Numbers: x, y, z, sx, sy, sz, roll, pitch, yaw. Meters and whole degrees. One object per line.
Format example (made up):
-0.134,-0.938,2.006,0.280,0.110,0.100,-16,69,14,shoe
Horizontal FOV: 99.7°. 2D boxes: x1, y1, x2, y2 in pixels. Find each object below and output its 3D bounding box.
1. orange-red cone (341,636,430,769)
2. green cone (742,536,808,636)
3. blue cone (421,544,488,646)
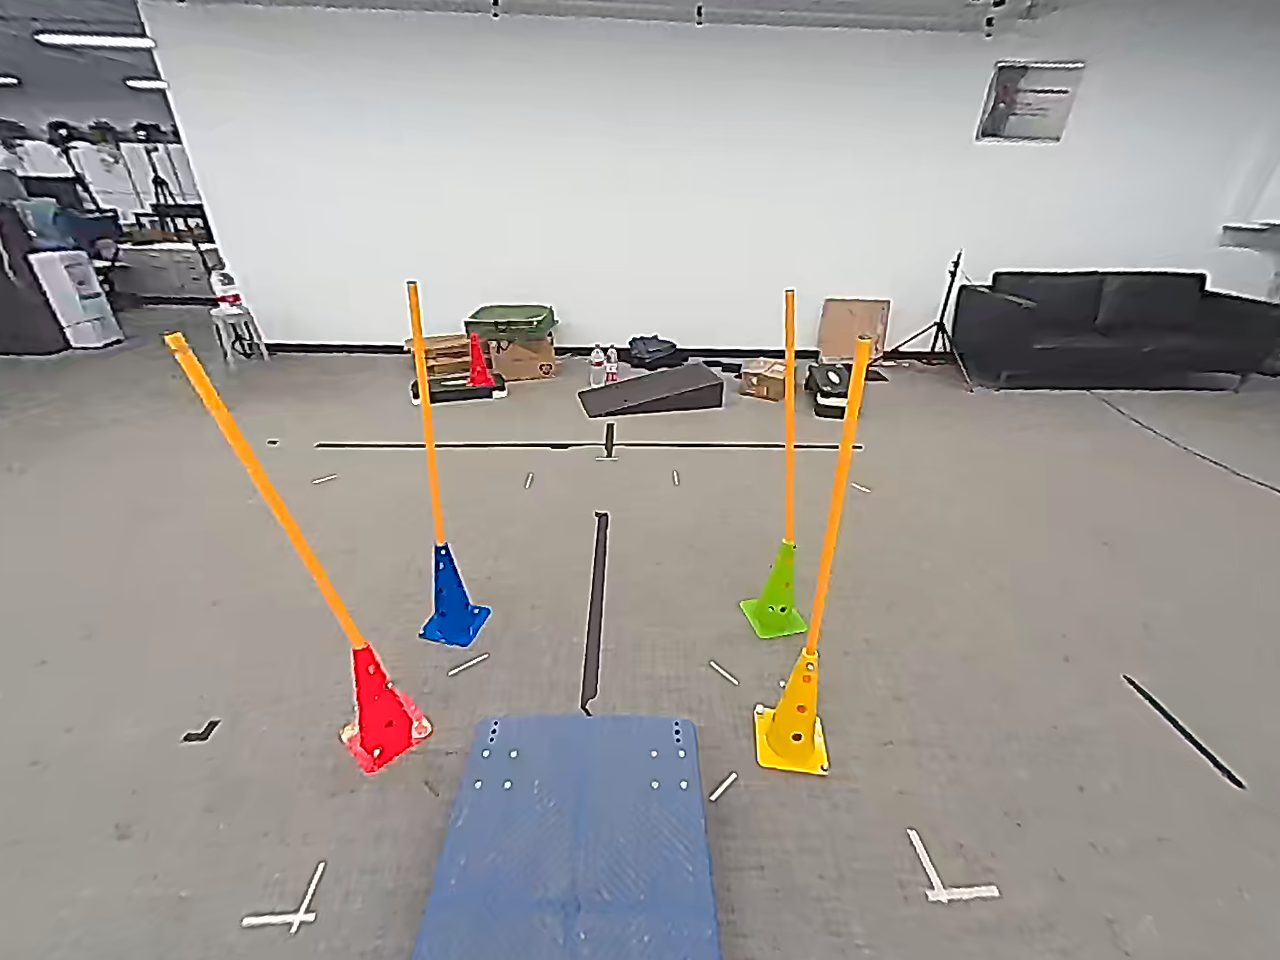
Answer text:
-0.735,0.575,1.498,0.198,0.360,0.199,27,36,36,orange-red cone
0.513,0.358,1.960,0.200,0.368,0.202,-6,31,-14,green cone
-0.666,0.378,1.890,0.193,0.380,0.192,8,30,11,blue cone
